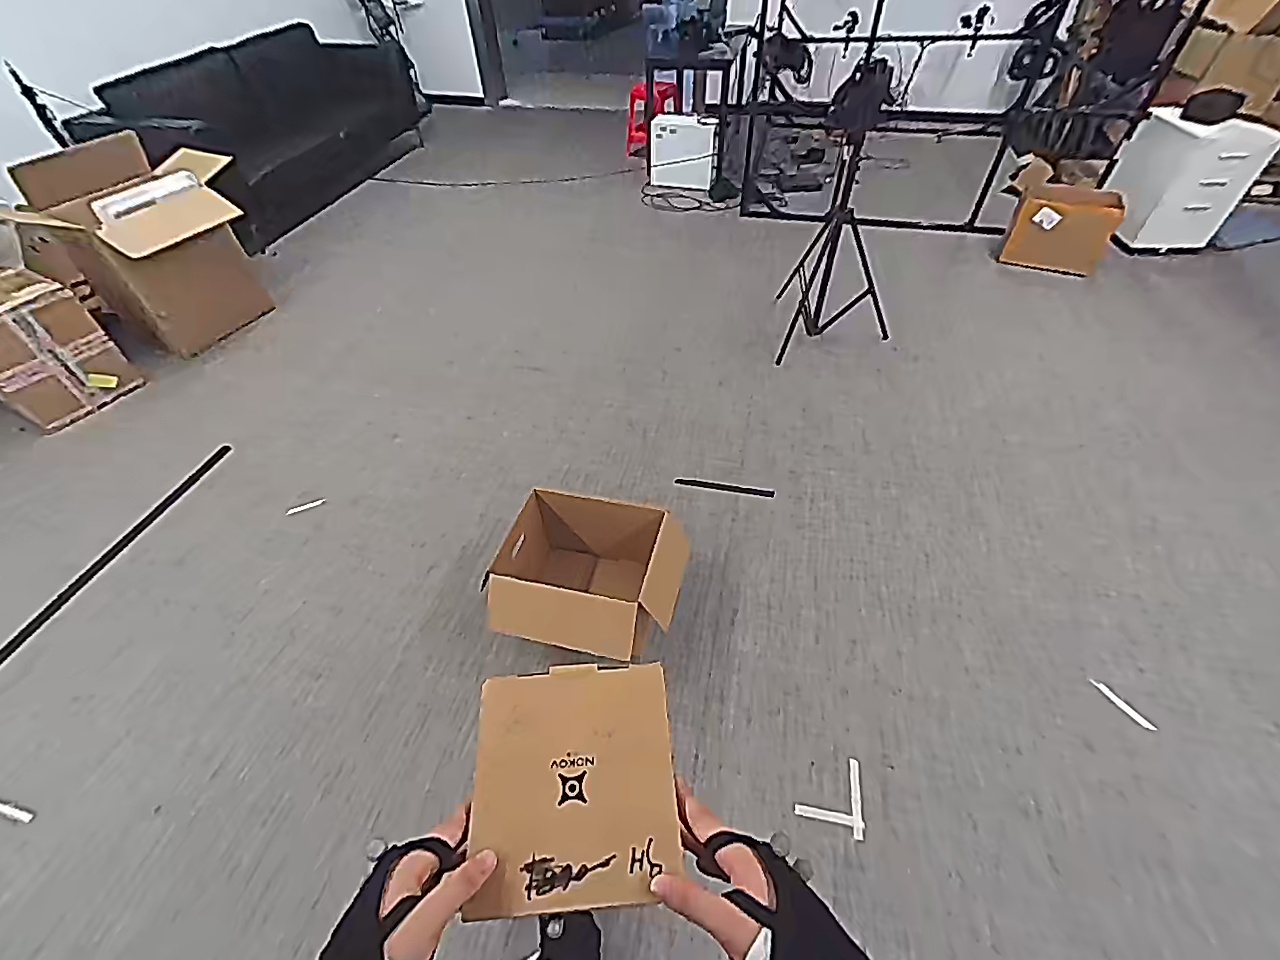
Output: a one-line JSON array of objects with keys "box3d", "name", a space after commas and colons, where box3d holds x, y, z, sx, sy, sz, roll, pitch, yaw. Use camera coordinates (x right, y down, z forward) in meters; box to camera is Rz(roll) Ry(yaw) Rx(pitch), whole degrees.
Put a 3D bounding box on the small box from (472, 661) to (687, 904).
[{"box3d": [-0.049, 0.293, 0.521, 0.168, 0.176, 0.179, -4, 53, -1], "name": "small box"}]
